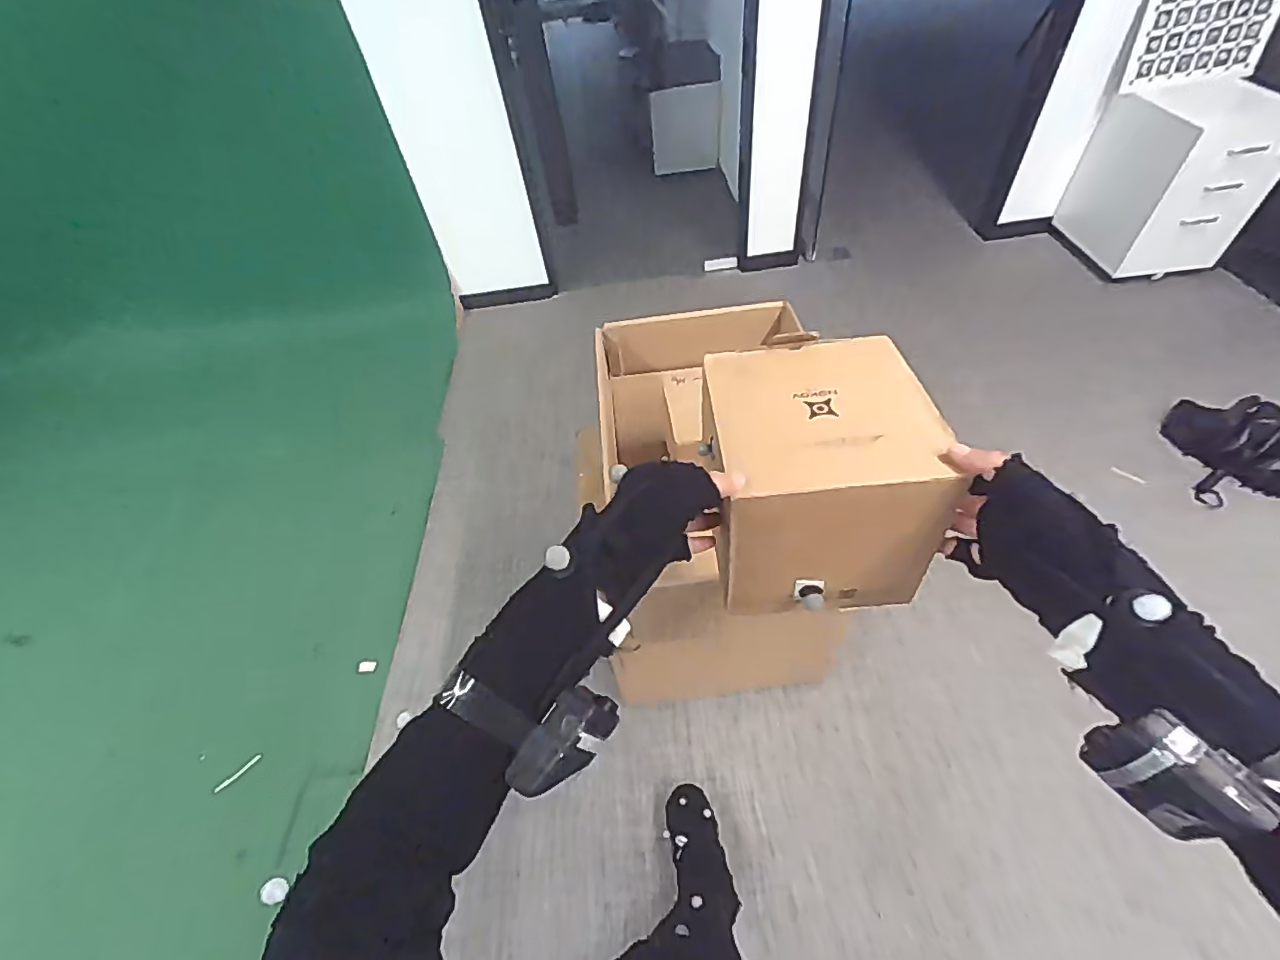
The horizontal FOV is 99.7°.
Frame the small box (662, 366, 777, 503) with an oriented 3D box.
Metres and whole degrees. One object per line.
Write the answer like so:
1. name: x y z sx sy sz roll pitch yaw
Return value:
1. small box: 0.134 -0.072 0.949 0.168 0.176 0.179 -7 50 0
